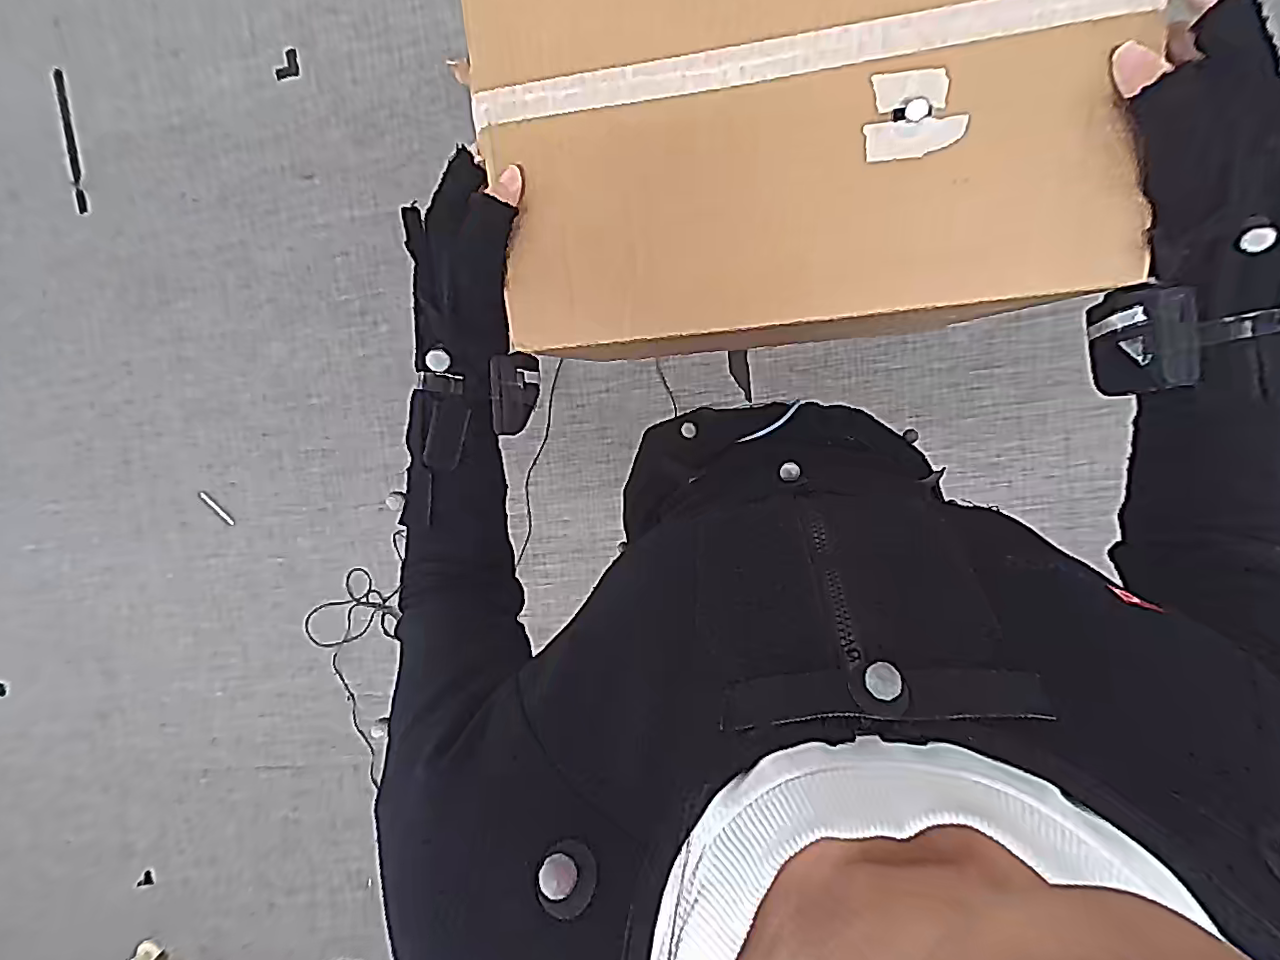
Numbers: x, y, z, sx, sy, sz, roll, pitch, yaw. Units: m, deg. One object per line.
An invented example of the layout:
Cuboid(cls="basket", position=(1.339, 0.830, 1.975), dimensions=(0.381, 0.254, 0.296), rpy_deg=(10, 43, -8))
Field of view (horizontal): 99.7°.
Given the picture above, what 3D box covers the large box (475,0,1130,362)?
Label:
Cuboid(cls="large box", position=(0.109, -0.291, 0.491), dimensions=(0.408, 0.320, 0.320), rpy_deg=(-5, 101, 7))
